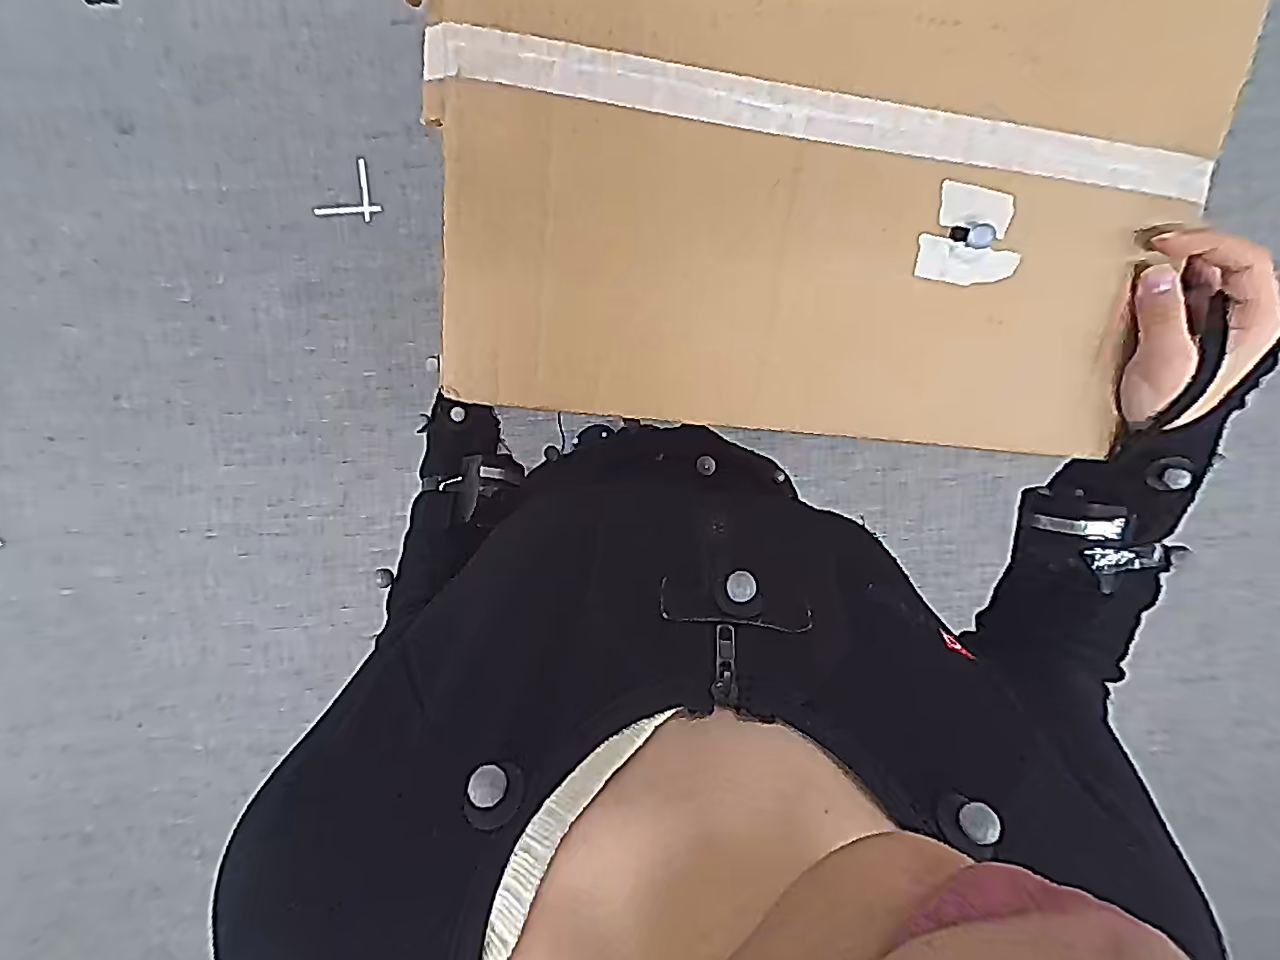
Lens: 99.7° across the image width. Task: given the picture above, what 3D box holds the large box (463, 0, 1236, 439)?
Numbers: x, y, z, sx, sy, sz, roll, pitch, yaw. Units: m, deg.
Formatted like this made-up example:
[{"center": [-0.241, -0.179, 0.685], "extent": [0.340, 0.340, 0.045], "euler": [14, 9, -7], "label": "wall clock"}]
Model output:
[{"center": [0.091, -0.220, 0.423], "extent": [0.408, 0.320, 0.320], "euler": [4, 105, -10], "label": "large box"}]
